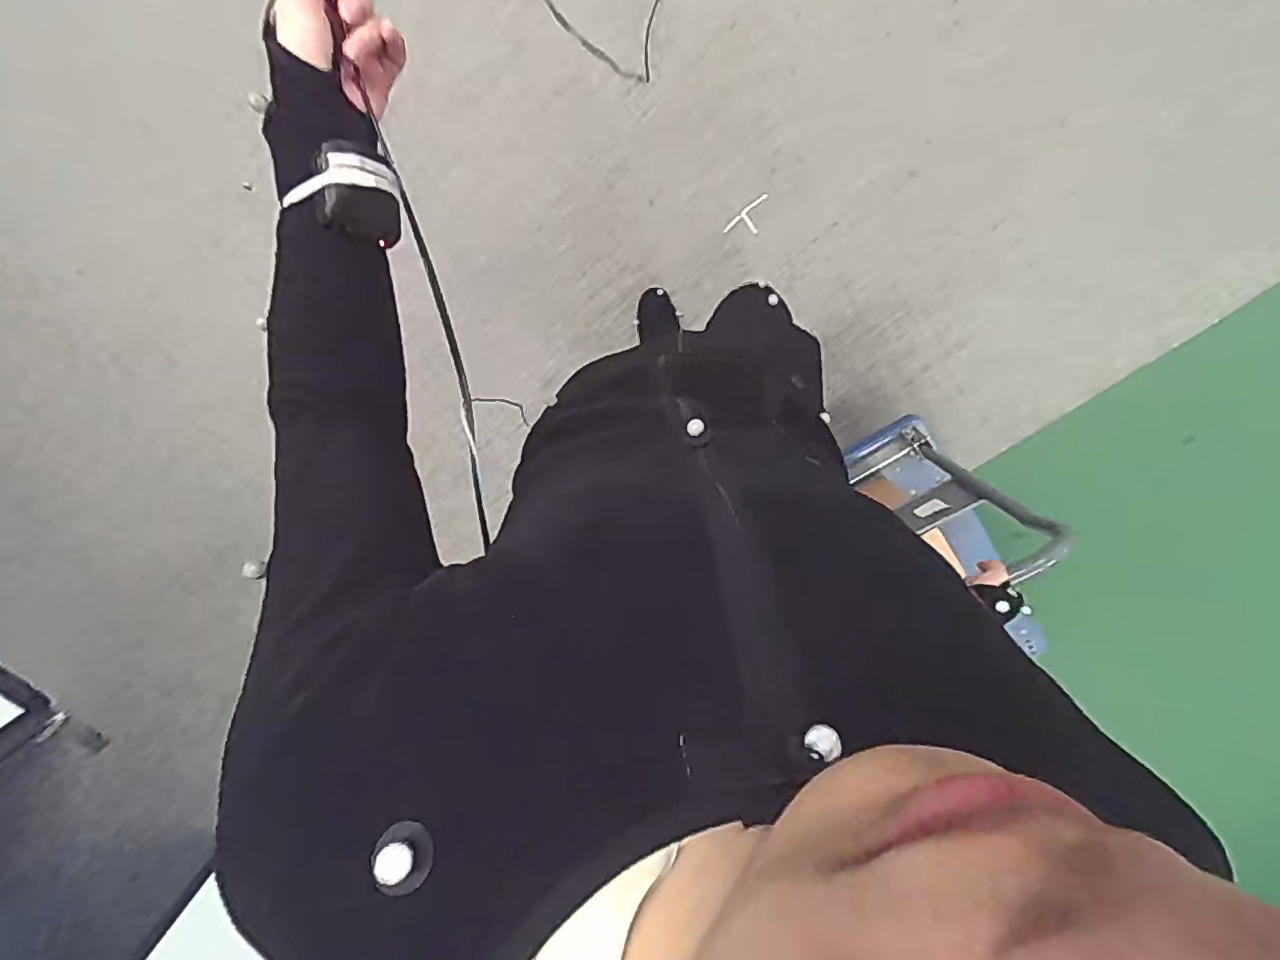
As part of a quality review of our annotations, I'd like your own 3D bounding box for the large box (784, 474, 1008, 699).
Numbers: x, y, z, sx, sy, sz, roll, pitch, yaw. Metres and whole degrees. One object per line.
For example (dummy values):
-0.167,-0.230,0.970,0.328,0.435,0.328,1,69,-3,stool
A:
0.631,0.262,1.390,0.320,0.320,0.408,-33,106,15,large box
